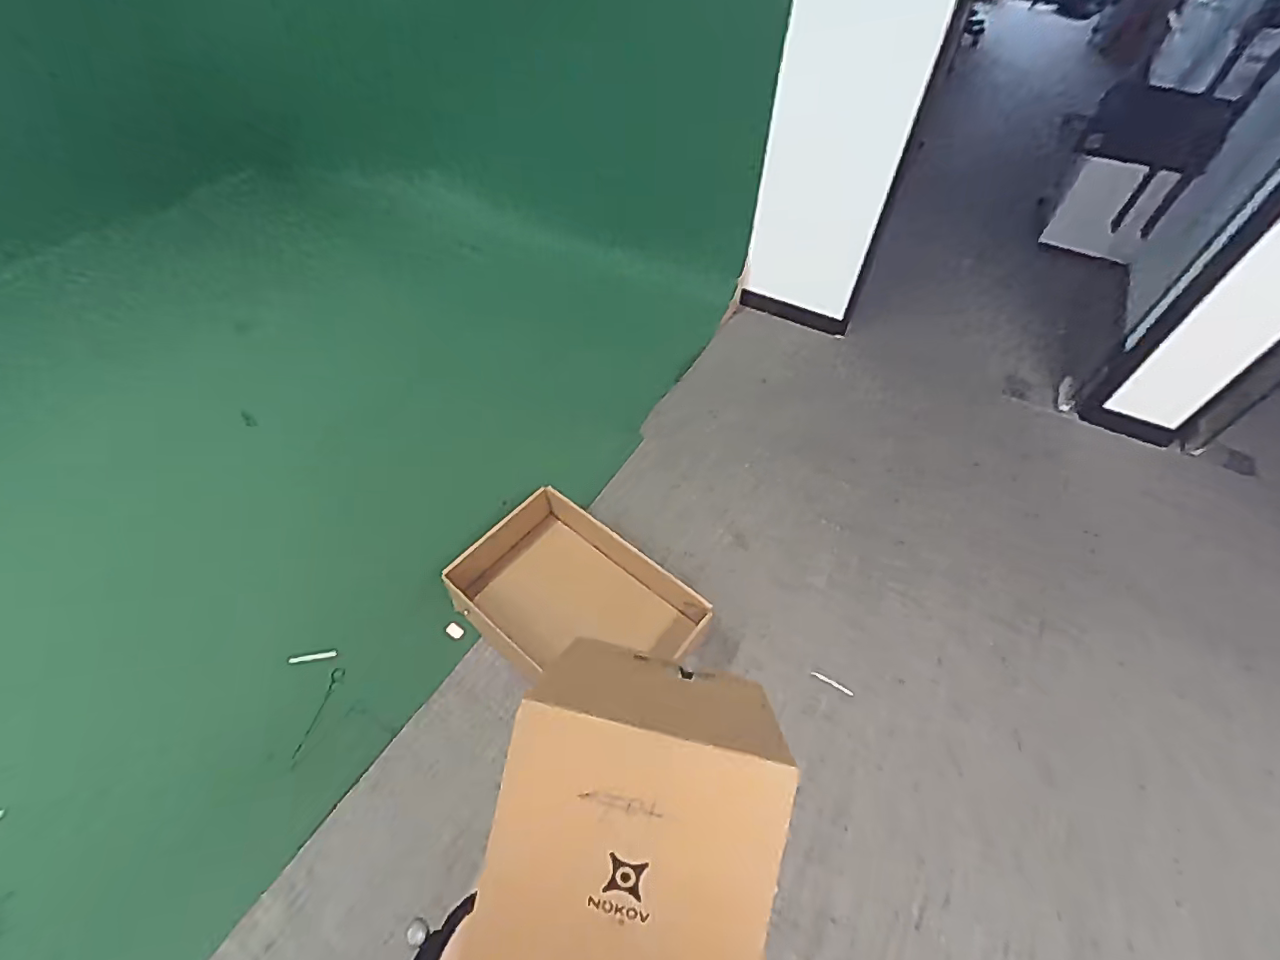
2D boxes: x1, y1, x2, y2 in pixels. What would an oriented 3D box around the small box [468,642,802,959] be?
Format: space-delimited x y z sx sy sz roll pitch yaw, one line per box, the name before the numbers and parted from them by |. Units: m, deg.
small box | 0.001 0.236 0.385 0.168 0.176 0.179 12 87 5
